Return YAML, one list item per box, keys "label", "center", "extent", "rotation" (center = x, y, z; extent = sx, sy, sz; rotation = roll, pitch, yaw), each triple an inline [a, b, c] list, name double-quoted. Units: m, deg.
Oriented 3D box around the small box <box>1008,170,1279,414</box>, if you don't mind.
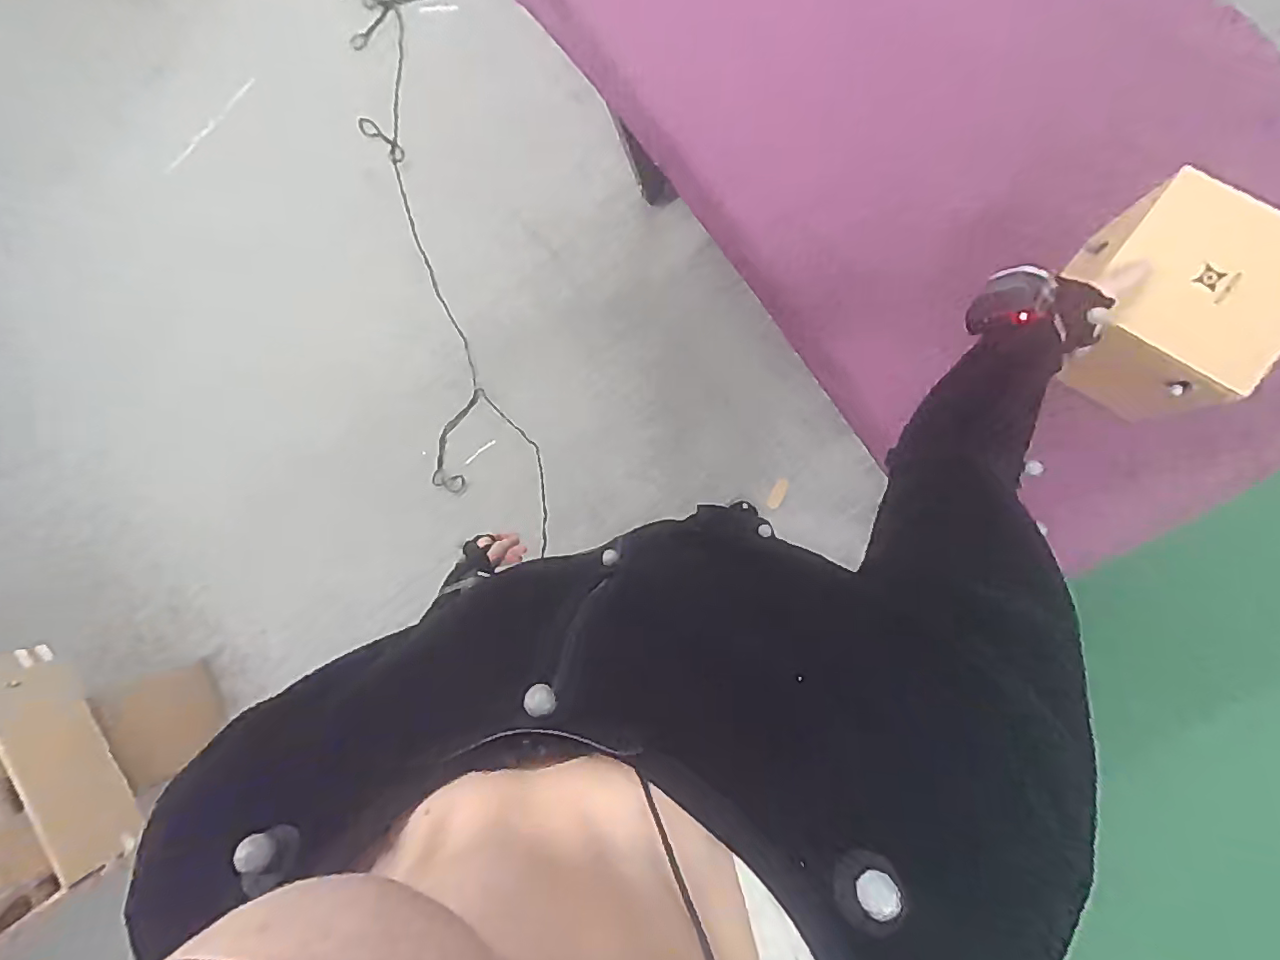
- label: "small box"
  center: [0.567, -0.190, 0.603]
  extent: [0.179, 0.176, 0.168]
  rotation: [36, 95, 9]
